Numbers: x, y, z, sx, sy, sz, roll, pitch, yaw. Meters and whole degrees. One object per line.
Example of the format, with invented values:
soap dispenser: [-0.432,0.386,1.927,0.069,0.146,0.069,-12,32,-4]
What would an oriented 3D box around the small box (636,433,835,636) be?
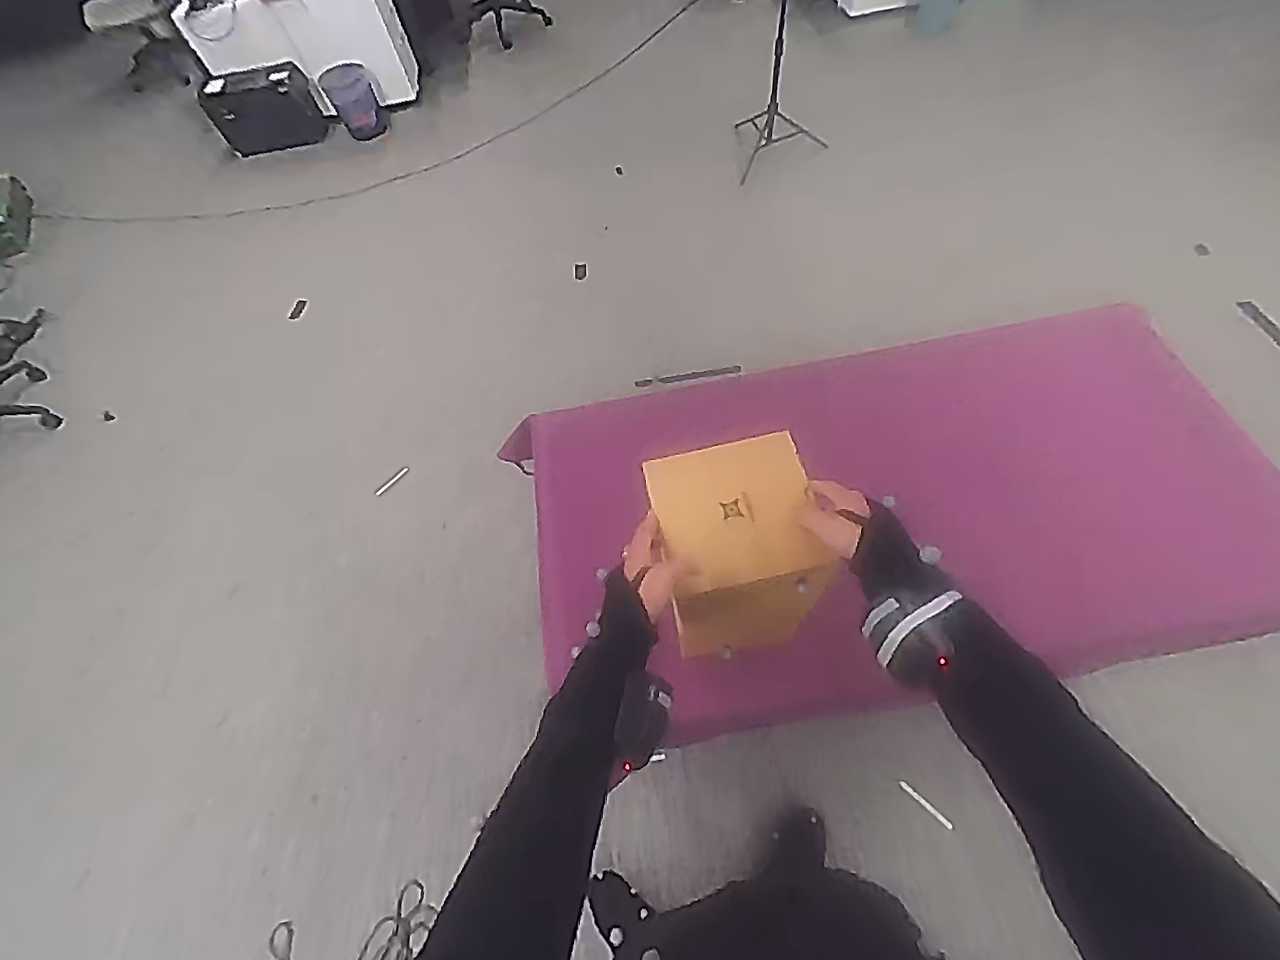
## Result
small box: [0.104,0.073,0.639,0.179,0.176,0.168,-13,61,-1]

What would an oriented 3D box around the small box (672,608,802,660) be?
small box: [0.121,0.147,0.785,0.168,0.176,0.179,-10,60,2]
